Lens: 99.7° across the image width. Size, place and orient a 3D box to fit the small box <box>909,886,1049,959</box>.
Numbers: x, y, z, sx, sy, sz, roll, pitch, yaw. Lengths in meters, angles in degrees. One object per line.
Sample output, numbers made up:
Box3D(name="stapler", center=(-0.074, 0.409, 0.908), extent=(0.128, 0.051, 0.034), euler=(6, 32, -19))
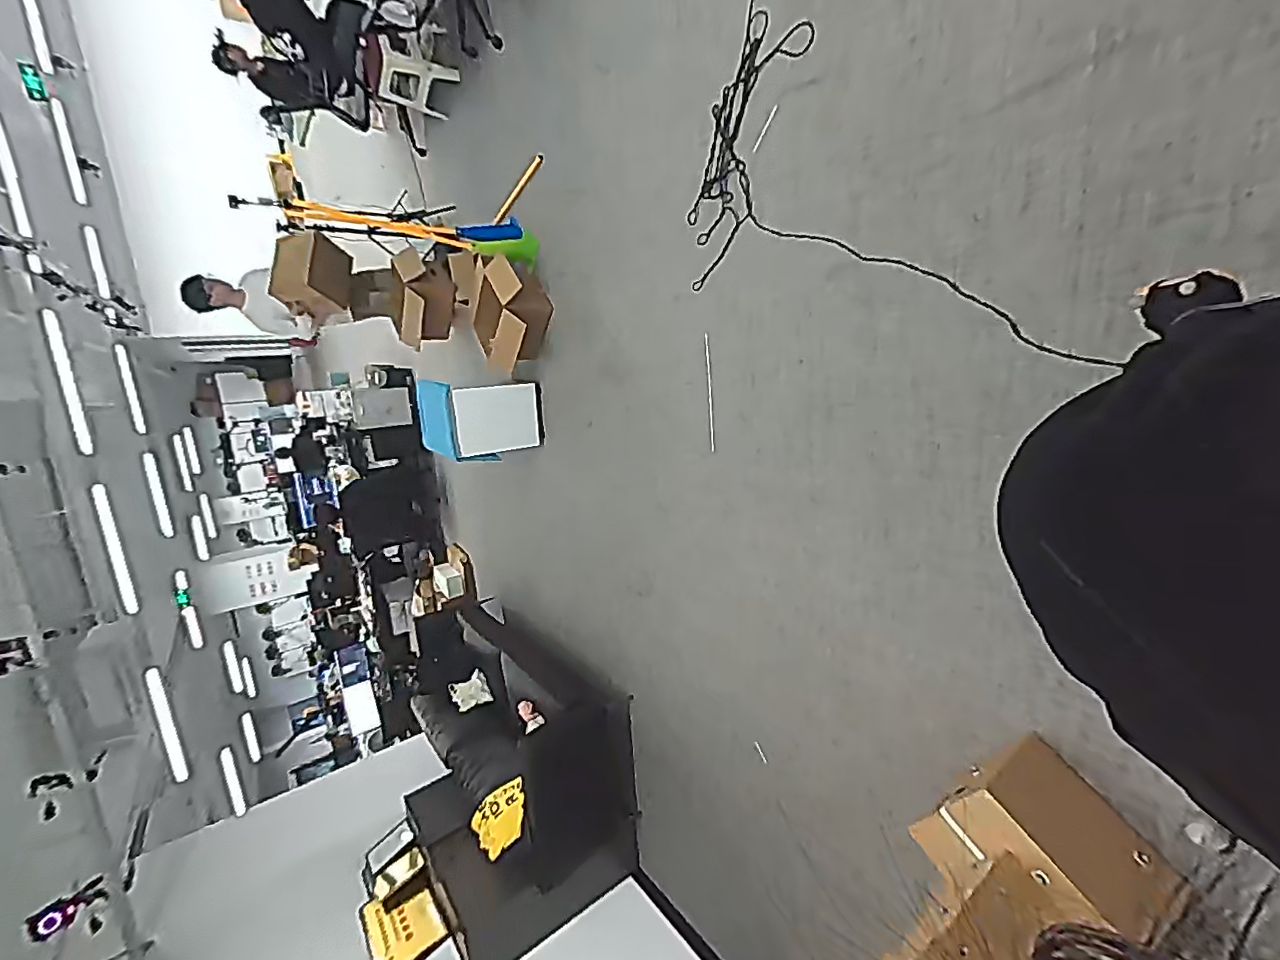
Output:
Box3D(name="small box", center=(0.699, 0.986, 1.104), extent=(0.179, 0.176, 0.168), euler=(51, 138, 35))

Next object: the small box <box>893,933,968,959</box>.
Box3D(name="small box", center=(0.557, 1.009, 1.021), extent=(0.168, 0.176, 0.179), euler=(51, 138, 36))
